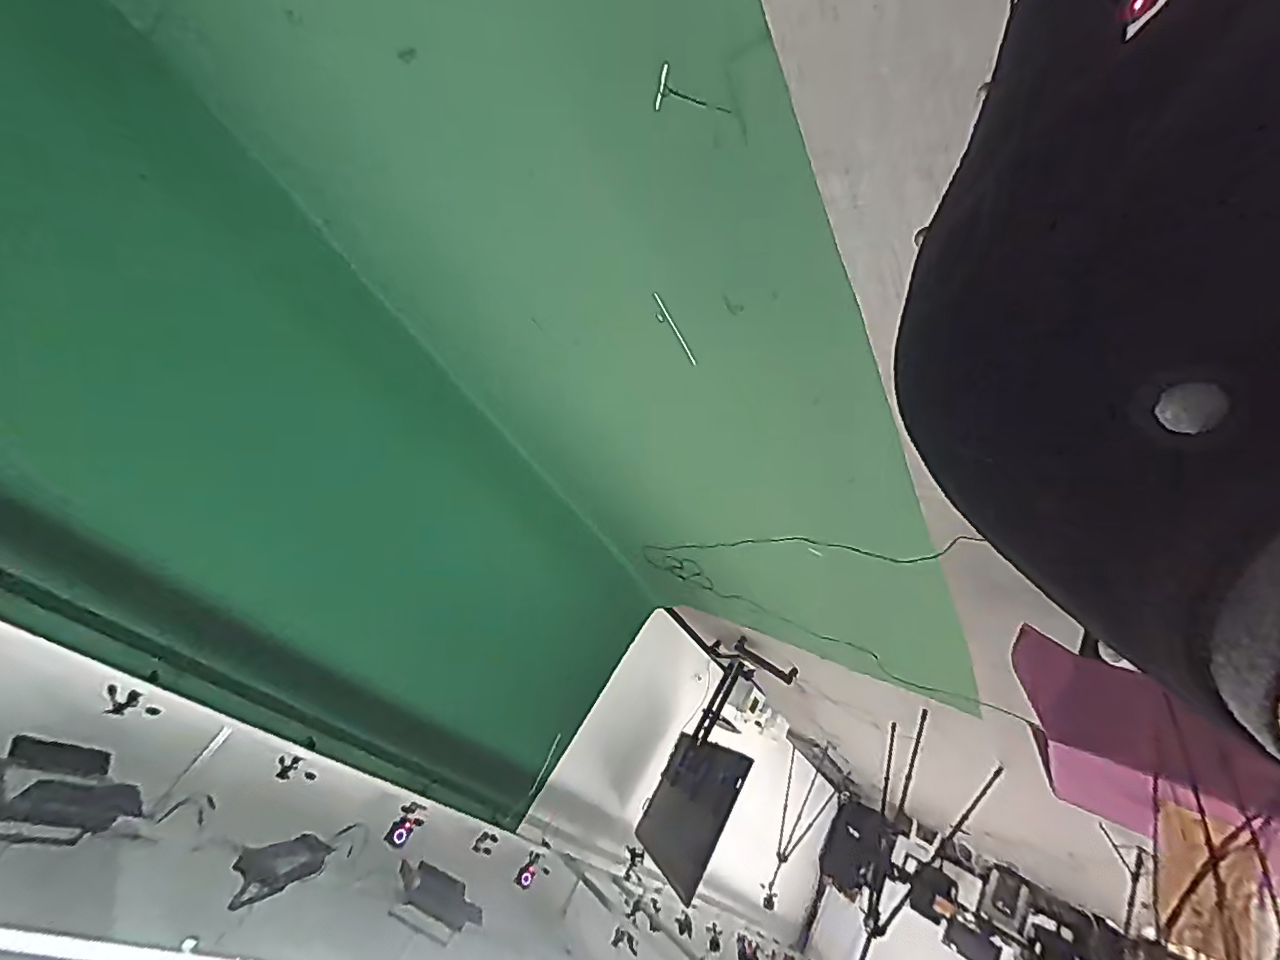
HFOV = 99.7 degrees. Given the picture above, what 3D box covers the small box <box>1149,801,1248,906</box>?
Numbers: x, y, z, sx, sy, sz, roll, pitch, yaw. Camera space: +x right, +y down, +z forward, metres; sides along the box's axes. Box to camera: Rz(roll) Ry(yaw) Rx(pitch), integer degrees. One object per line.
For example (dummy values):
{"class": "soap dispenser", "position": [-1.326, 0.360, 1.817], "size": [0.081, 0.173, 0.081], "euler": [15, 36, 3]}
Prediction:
{"class": "small box", "position": [1.538, 1.023, 1.490], "size": [0.168, 0.176, 0.179], "euler": [11, 148, 43]}
